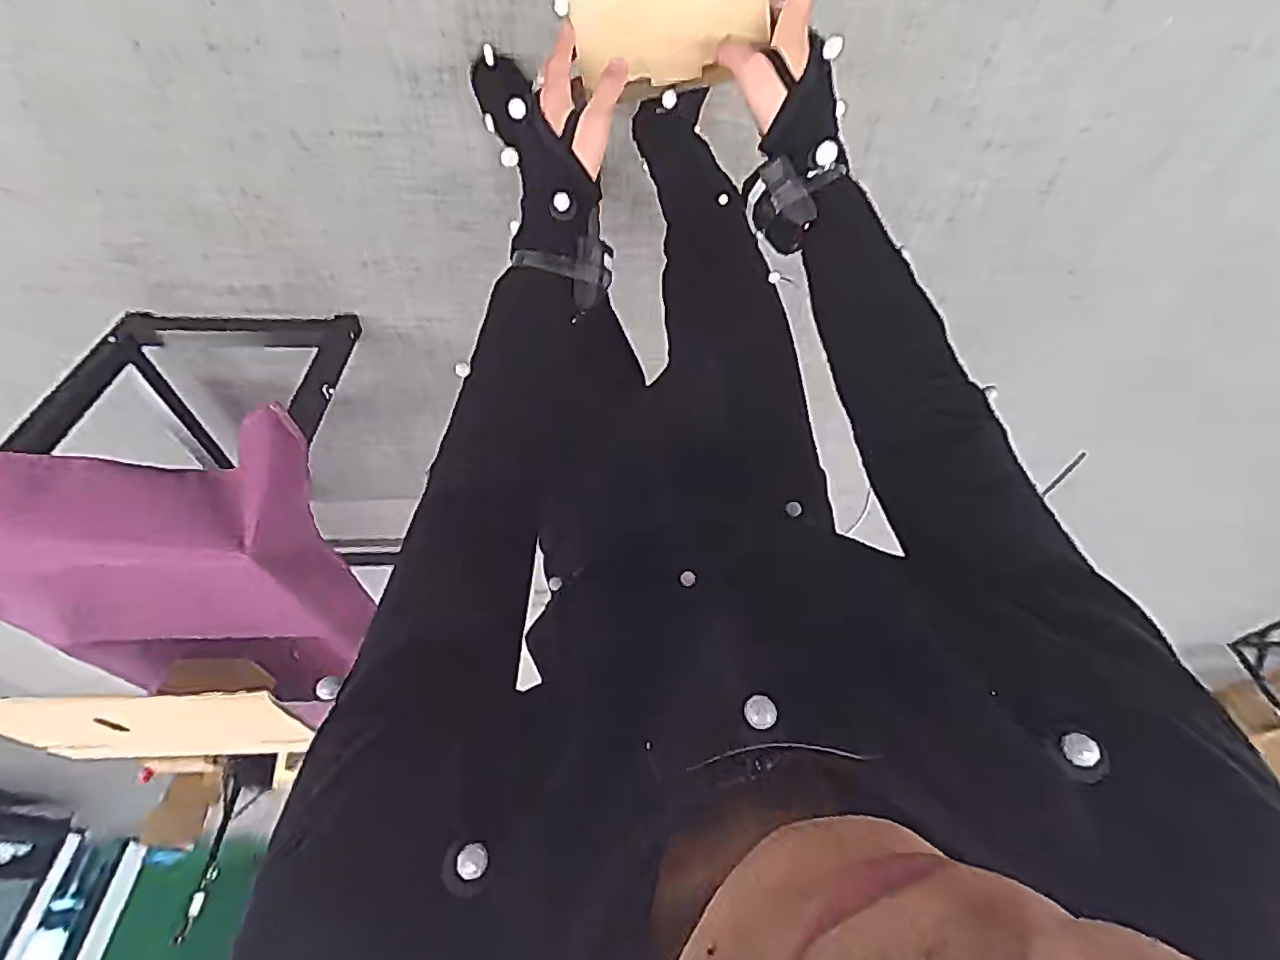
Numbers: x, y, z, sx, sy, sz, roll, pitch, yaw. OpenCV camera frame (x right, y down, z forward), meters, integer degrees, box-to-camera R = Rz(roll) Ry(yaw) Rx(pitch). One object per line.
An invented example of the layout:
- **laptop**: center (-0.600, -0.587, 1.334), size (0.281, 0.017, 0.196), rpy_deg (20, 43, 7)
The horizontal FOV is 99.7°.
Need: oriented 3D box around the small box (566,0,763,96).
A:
- **small box**: center (0.013, -0.474, 0.500), size (0.168, 0.176, 0.179), rpy_deg (-9, 121, 4)
